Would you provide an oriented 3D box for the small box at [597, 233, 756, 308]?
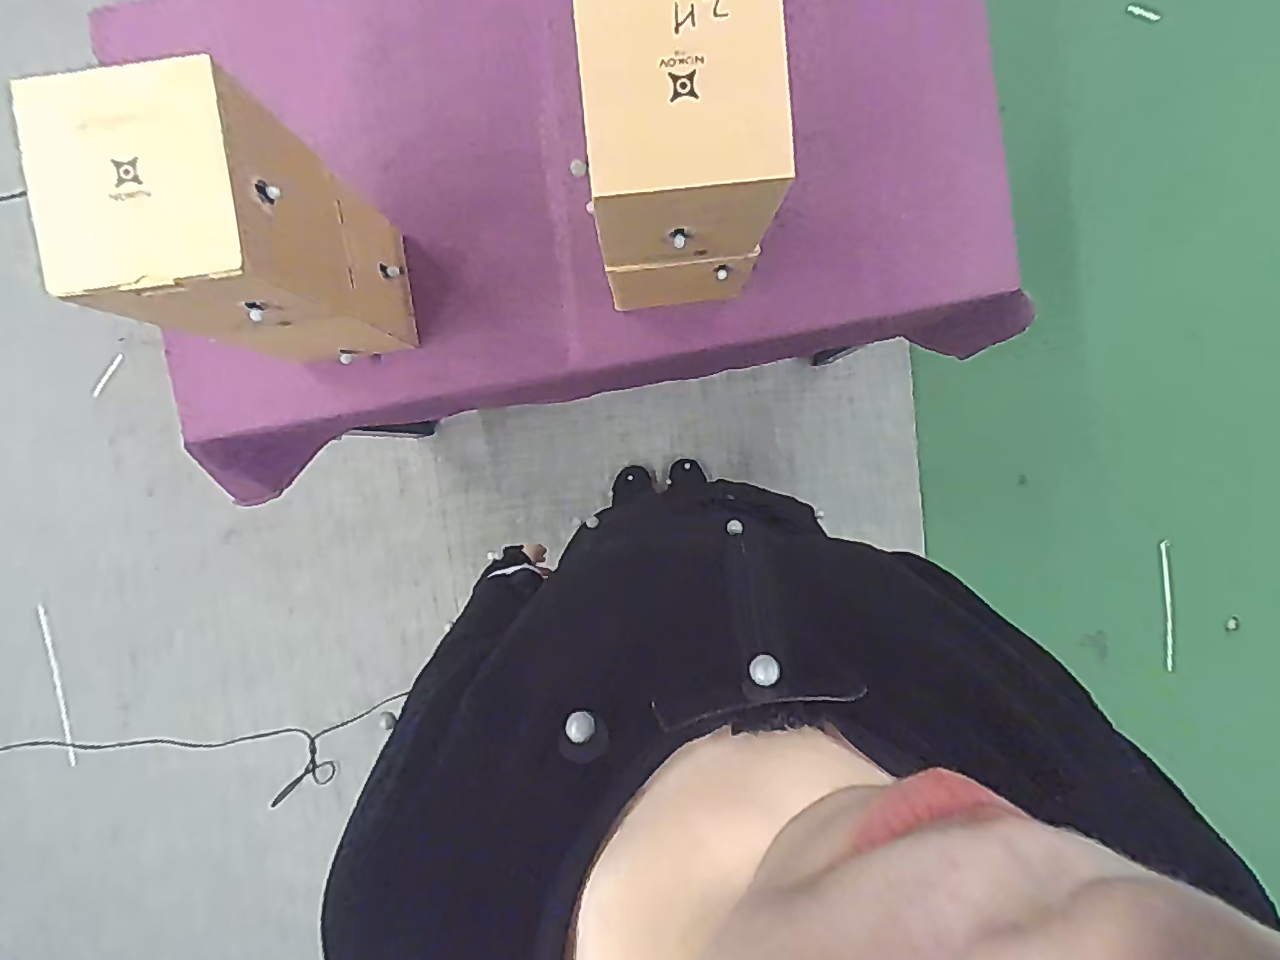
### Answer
[{"bbox_3d":[0.037,-0.325,0.675,0.179,0.176,0.168,-7,93,1],"label":"small box"}]

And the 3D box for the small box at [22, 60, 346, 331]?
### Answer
[{"bbox_3d":[-0.413,-0.250,0.523,0.168,0.176,0.179,-6,92,1],"label":"small box"}]

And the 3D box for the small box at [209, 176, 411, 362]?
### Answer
[{"bbox_3d":[-0.410,-0.253,0.687,0.179,0.176,0.168,-8,92,1],"label":"small box"}]

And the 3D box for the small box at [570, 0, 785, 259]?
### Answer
[{"bbox_3d":[0.032,-0.322,0.510,0.168,0.176,0.179,-5,93,1],"label":"small box"}]
